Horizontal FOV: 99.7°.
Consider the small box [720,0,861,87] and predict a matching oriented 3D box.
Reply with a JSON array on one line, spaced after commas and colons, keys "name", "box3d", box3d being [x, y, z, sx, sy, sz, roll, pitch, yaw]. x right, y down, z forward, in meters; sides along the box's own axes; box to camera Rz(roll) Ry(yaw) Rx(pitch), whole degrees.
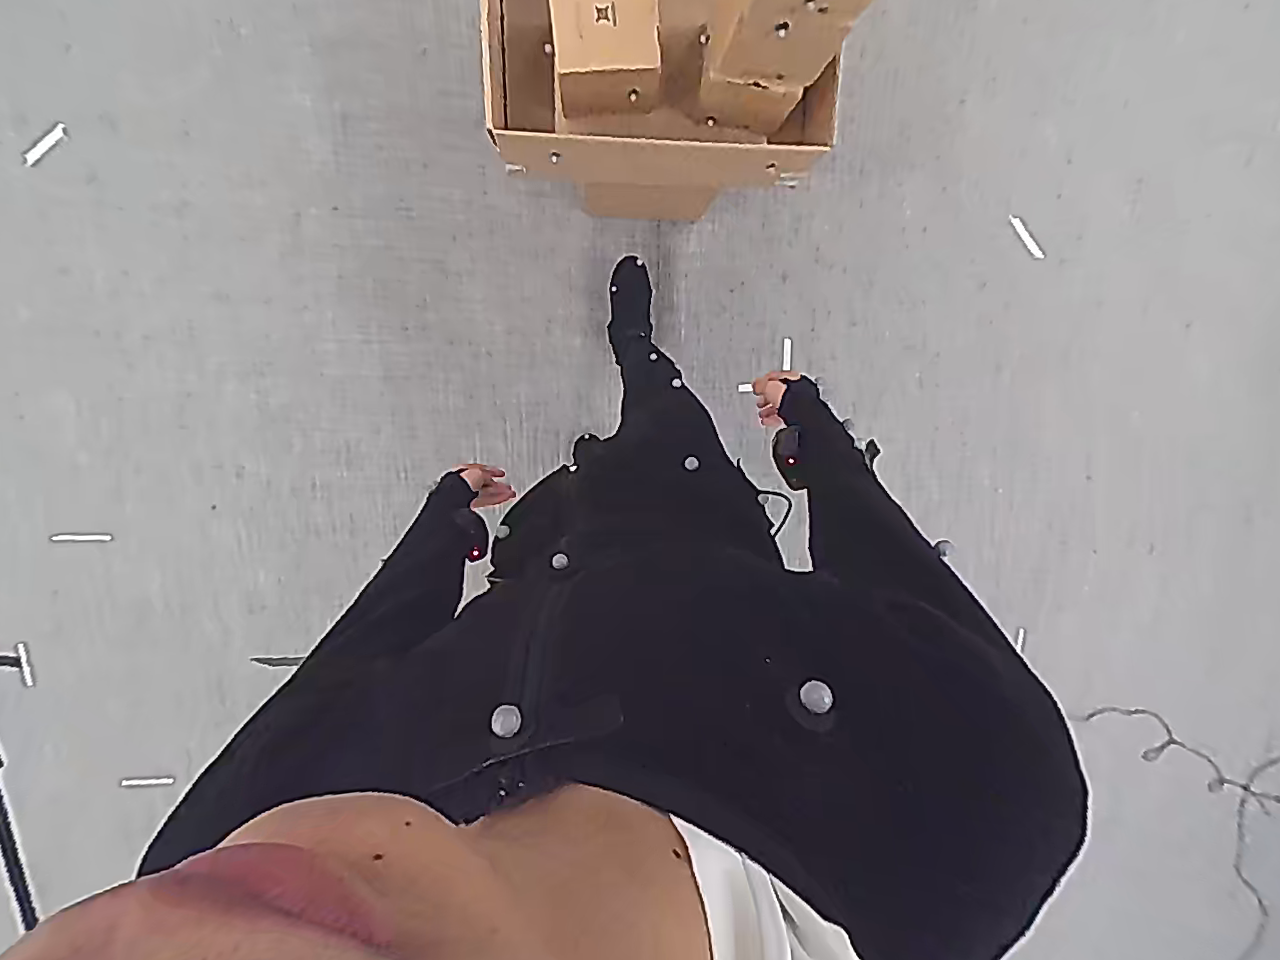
[{"name": "small box", "box3d": [0.223, -0.736, 0.809, 0.168, 0.176, 0.179, 3, 100, -5]}]
